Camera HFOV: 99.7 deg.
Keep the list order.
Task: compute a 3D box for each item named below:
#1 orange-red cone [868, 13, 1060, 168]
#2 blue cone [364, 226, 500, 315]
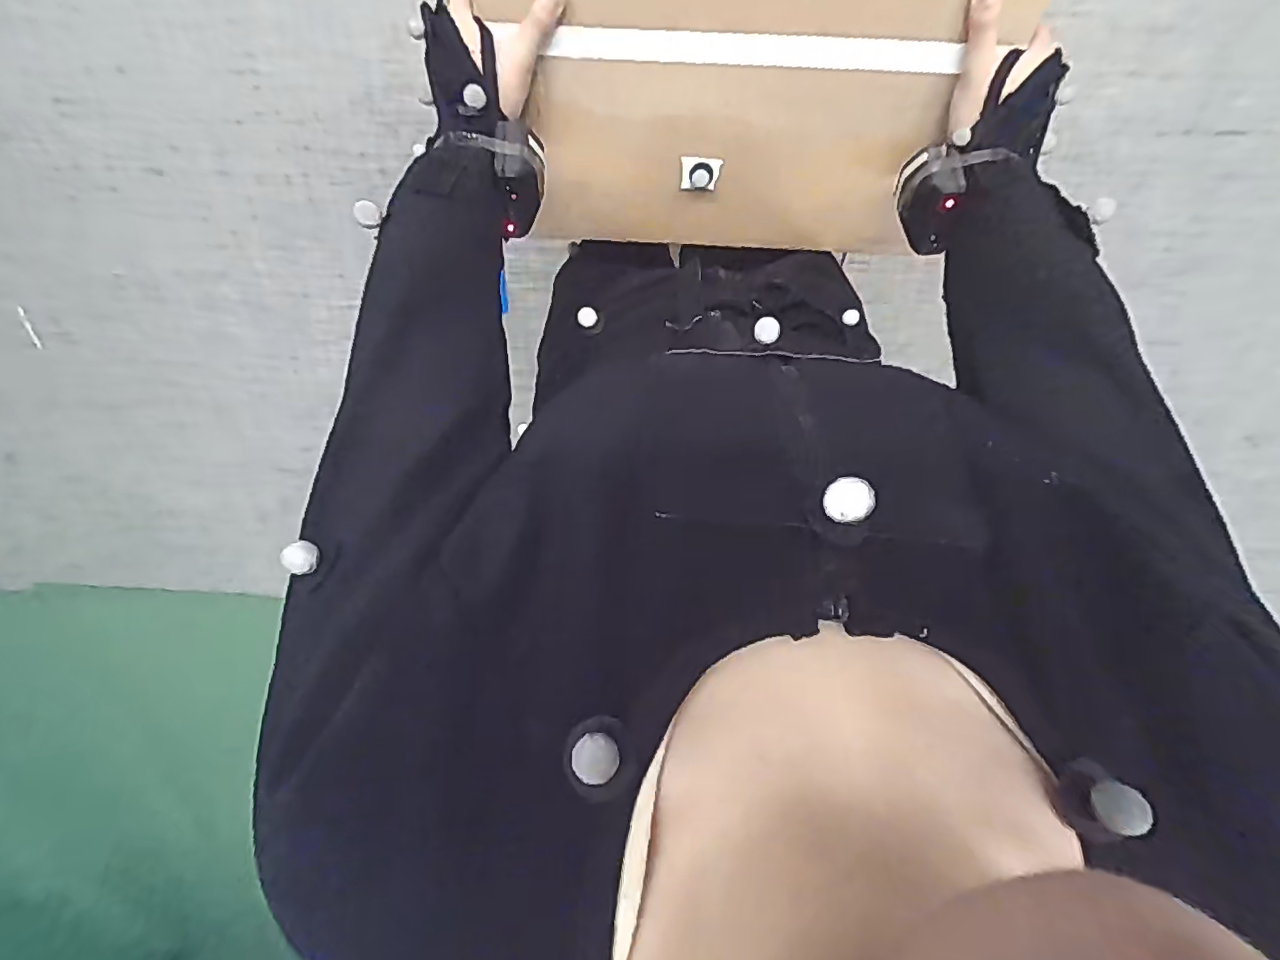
[{"bbox_3d":[0.542,-0.634,0.855,0.199,0.360,0.198,20,119,-7],"label":"orange-red cone"},{"bbox_3d":[-0.431,-0.399,1.091,0.192,0.380,0.193,4,118,4],"label":"blue cone"}]
